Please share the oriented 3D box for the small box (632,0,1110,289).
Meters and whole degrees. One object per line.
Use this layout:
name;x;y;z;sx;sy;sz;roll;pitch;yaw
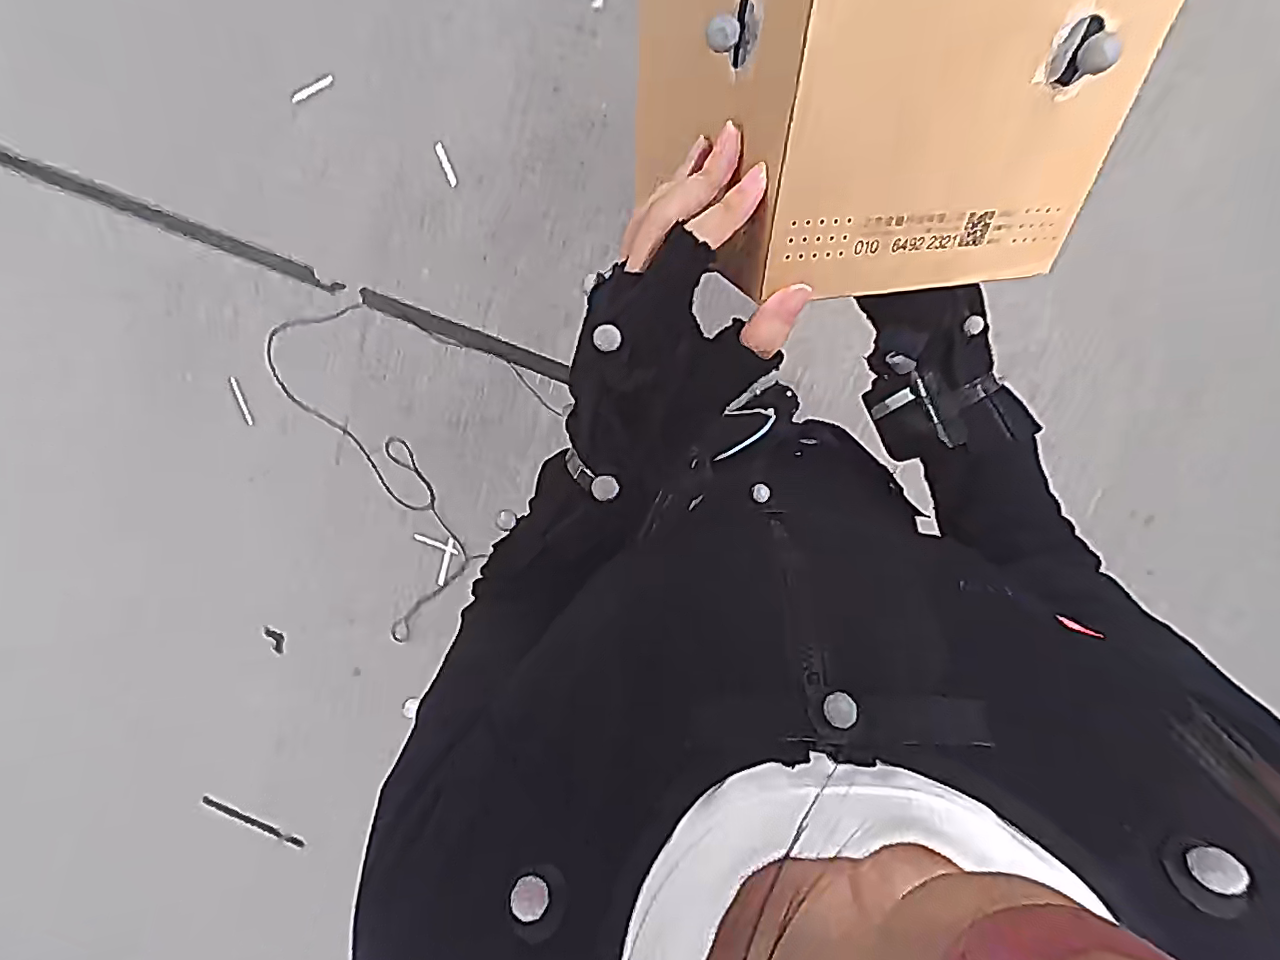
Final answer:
small box;0.098;-0.206;0.280;0.168;0.179;0.176;-10;130;-15
